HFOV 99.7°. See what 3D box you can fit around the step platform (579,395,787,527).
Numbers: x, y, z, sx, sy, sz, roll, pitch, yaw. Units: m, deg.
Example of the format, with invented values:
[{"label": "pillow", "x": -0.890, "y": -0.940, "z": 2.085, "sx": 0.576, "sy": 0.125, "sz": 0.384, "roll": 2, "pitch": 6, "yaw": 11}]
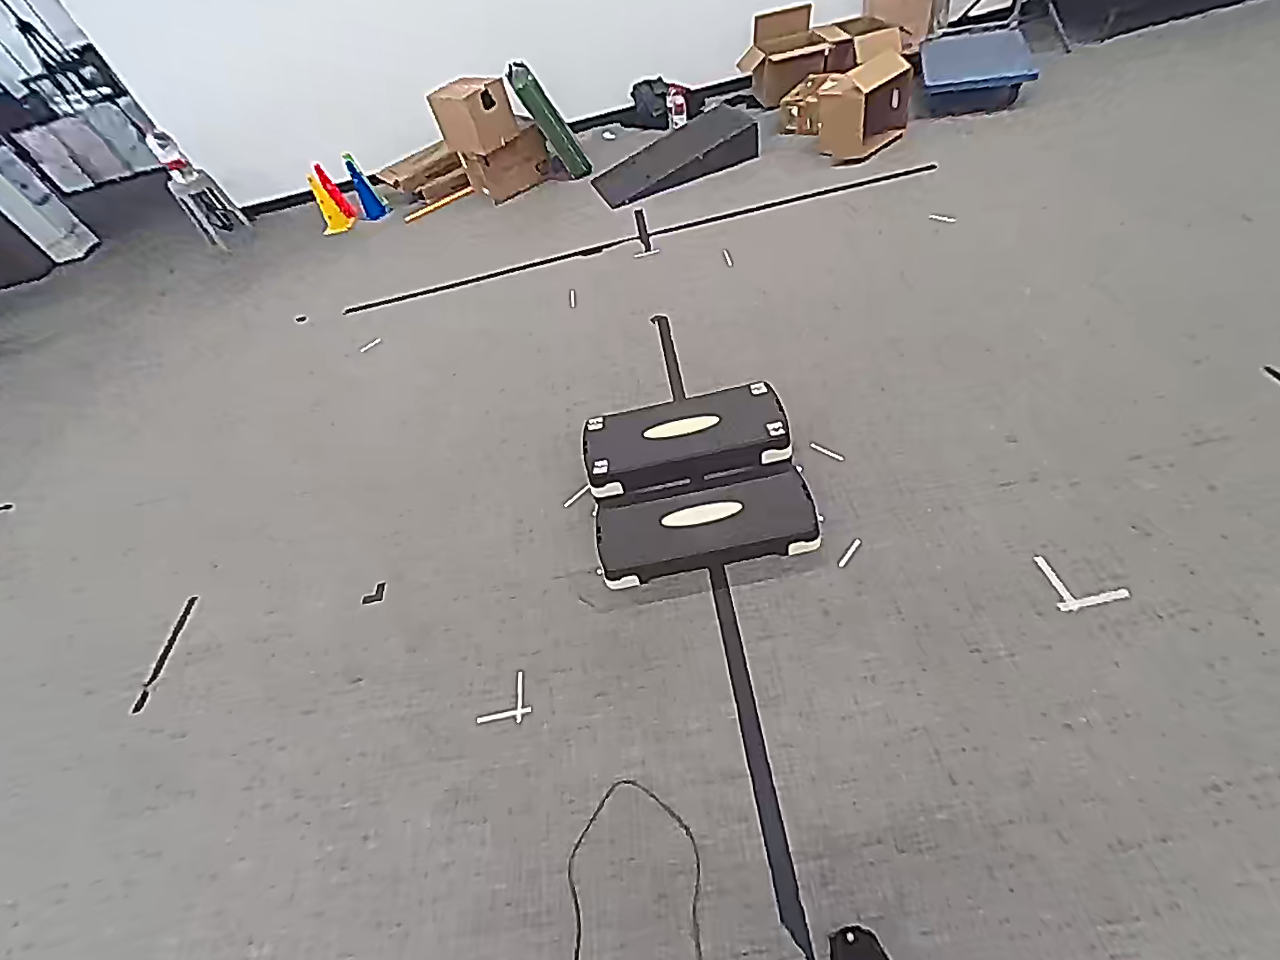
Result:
[{"label": "step platform", "x": 0.136, "y": -0.068, "z": 1.819, "sx": 0.684, "sy": 0.204, "sz": 0.286, "roll": -12, "pitch": 50, "yaw": 3}]
